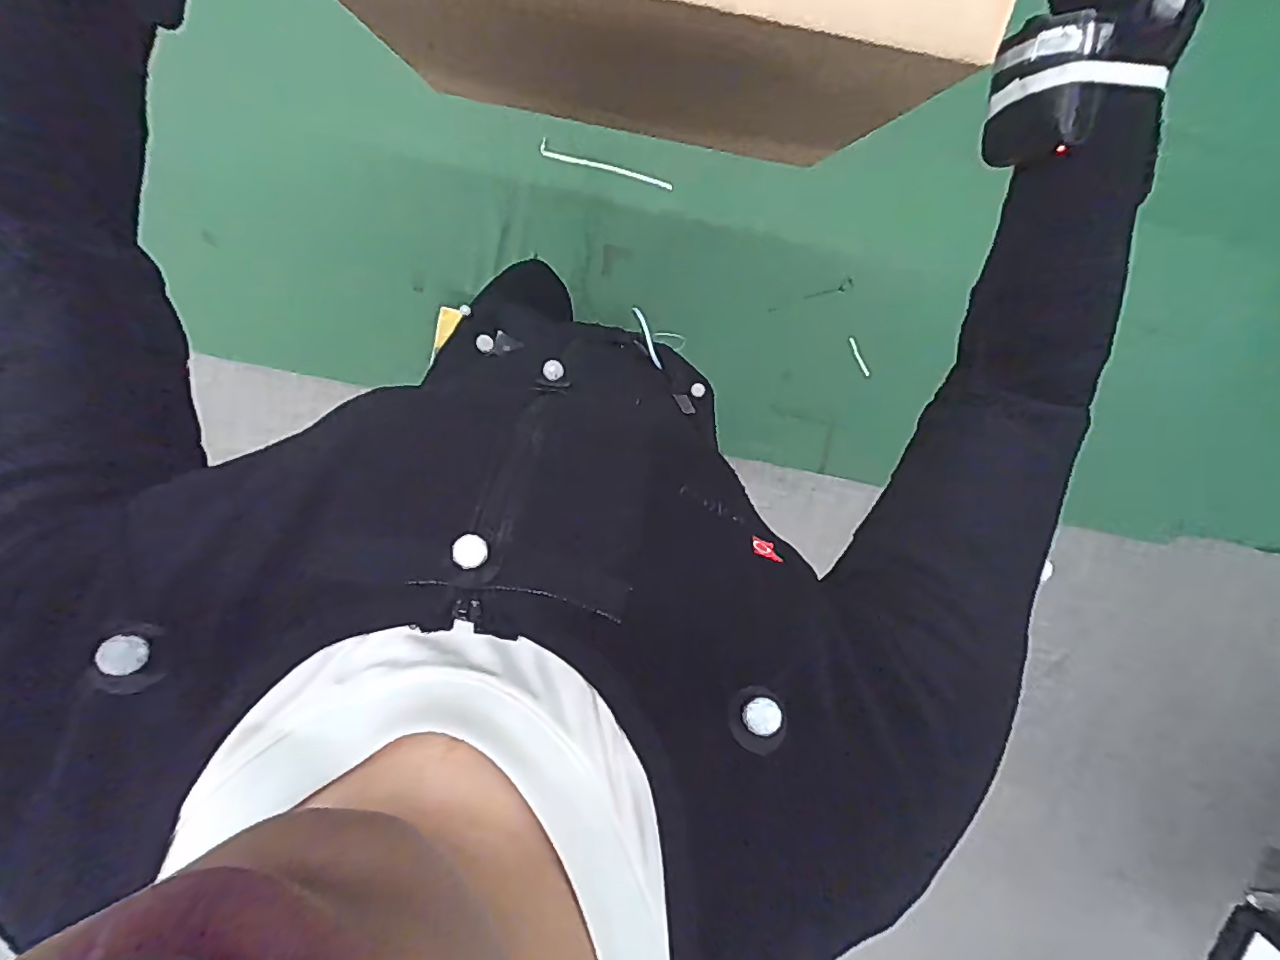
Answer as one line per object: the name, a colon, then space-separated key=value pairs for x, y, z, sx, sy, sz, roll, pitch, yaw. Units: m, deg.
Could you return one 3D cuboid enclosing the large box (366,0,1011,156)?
large box: x=0.021 y=-0.461 z=0.377 sx=0.408 sy=0.320 sz=0.320 roll=8 pitch=111 yaw=-6
